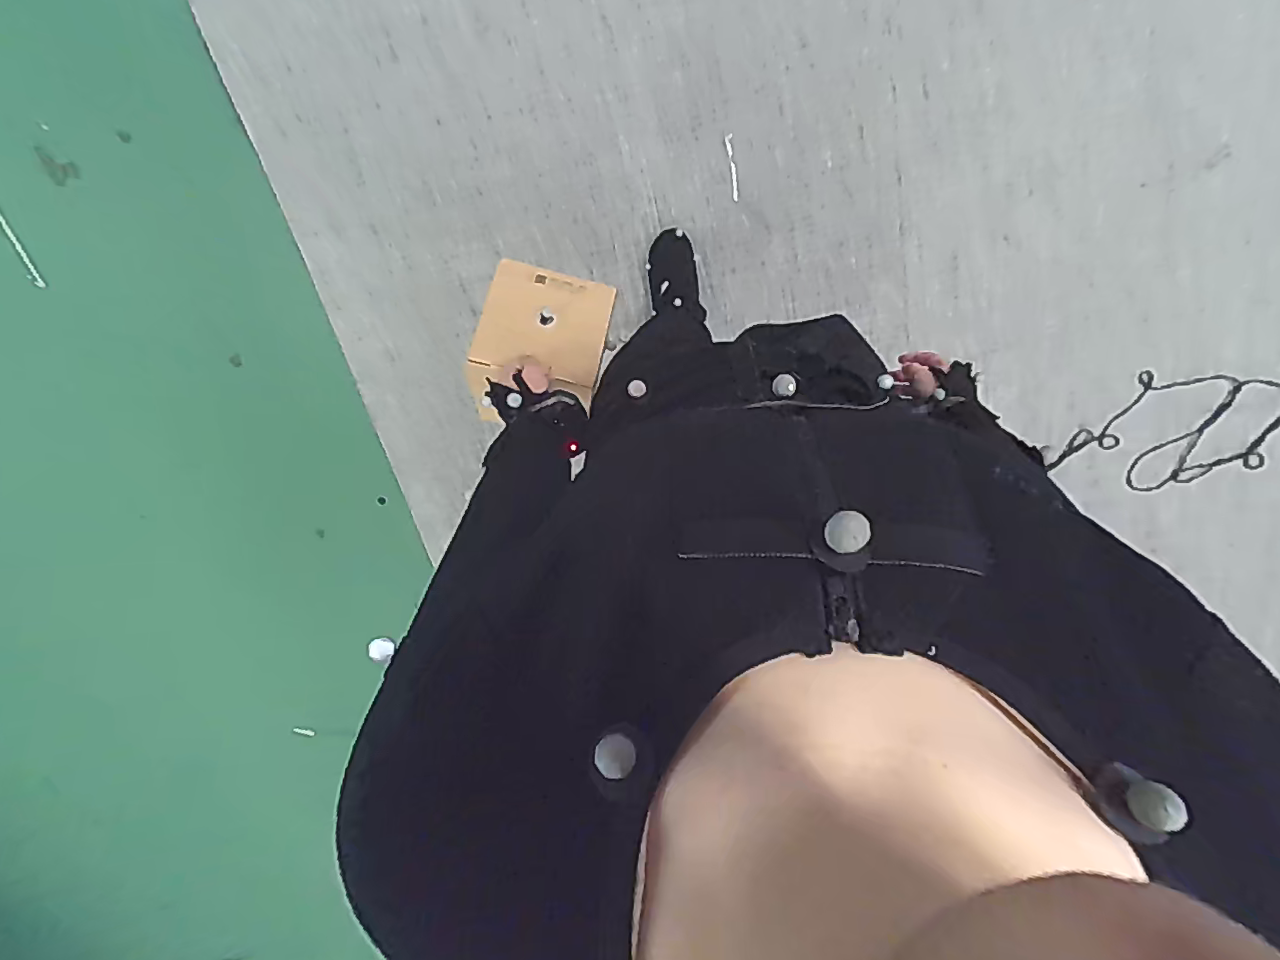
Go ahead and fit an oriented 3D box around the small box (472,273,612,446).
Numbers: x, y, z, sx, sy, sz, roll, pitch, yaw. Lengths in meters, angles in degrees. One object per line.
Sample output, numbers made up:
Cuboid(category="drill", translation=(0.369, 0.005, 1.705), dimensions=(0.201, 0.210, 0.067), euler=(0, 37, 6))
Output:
Cuboid(category="small box", translation=(-0.139, -0.173, 0.798), dimensions=(0.168, 0.179, 0.176), euler=(11, 68, -6))
